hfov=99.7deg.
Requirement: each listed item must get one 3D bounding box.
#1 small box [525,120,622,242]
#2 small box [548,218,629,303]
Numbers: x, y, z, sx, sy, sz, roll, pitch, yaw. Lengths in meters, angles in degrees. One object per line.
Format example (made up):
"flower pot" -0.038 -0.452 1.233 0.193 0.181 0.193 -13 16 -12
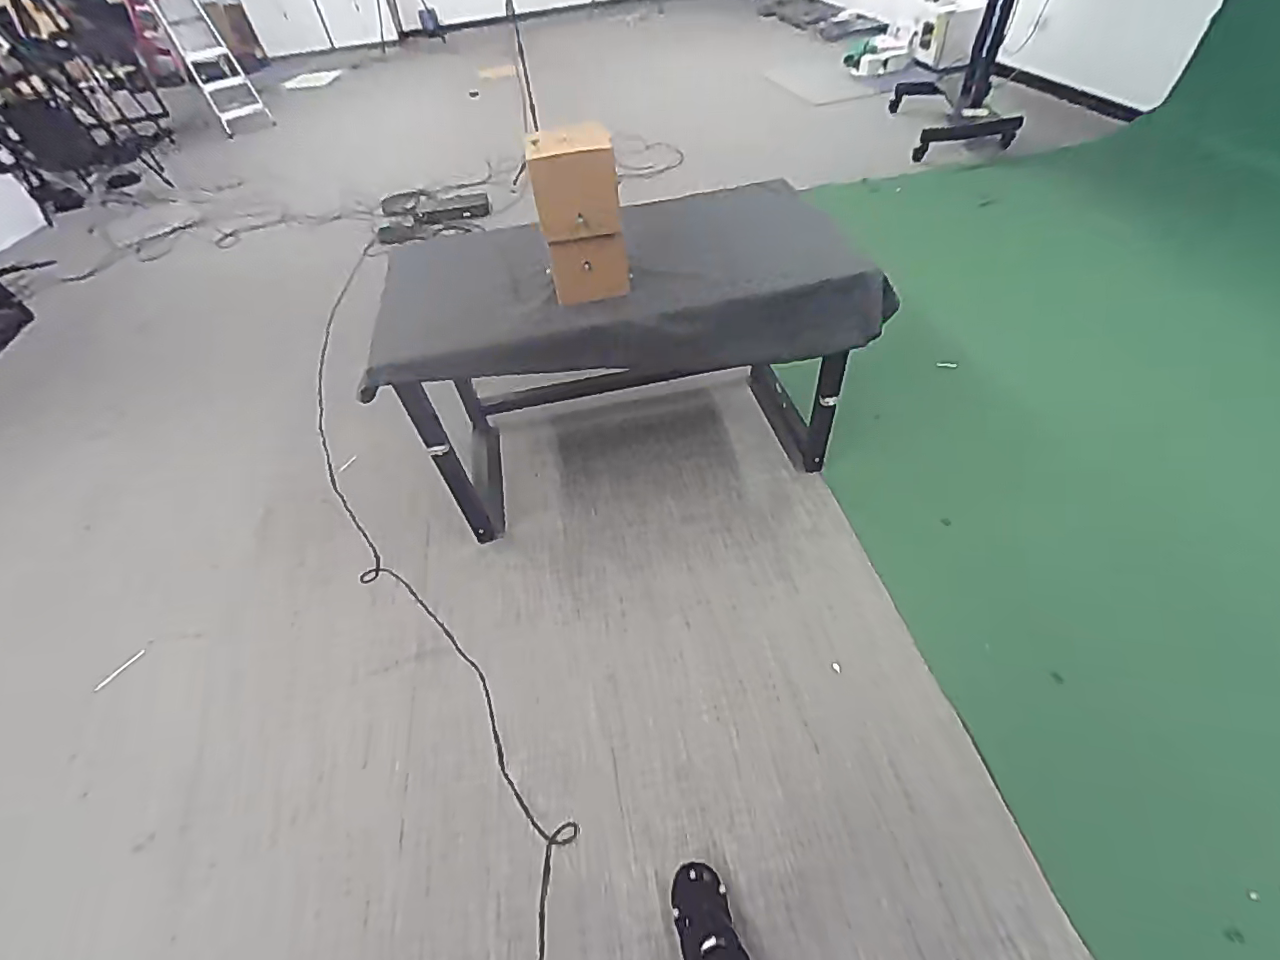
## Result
"small box" -0.138 -0.641 1.165 0.179 0.176 0.168 -13 50 -3
"small box" -0.125 -0.552 1.300 0.179 0.176 0.168 -12 49 -3
